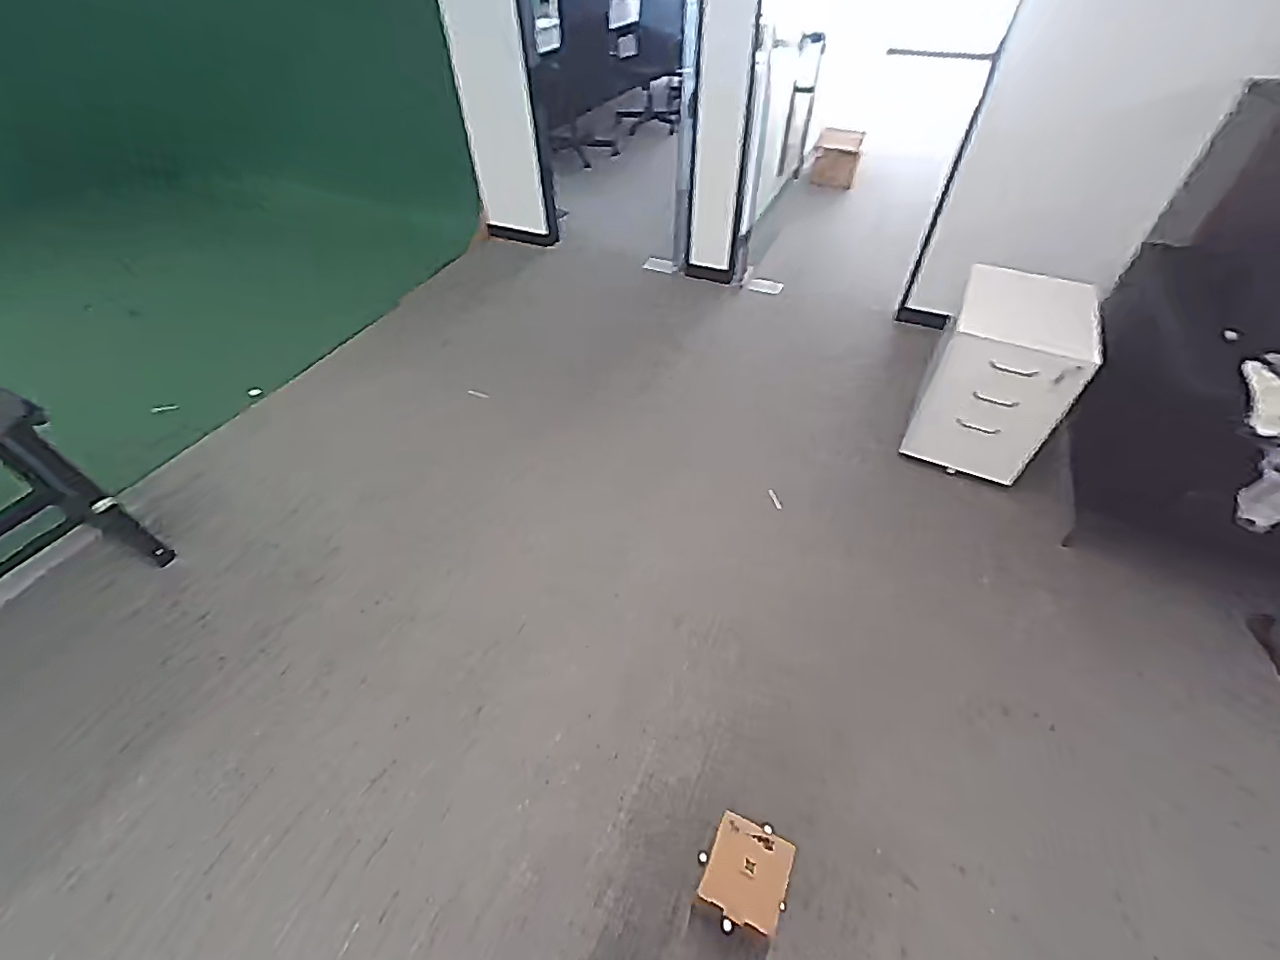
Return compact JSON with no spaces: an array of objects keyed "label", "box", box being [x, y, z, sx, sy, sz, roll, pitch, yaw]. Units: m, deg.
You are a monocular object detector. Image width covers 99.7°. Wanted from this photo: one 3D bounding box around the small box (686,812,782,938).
[{"label":"small box","box":[0.209,0.899,1.227,0.168,0.176,0.179,19,49,15]}]
